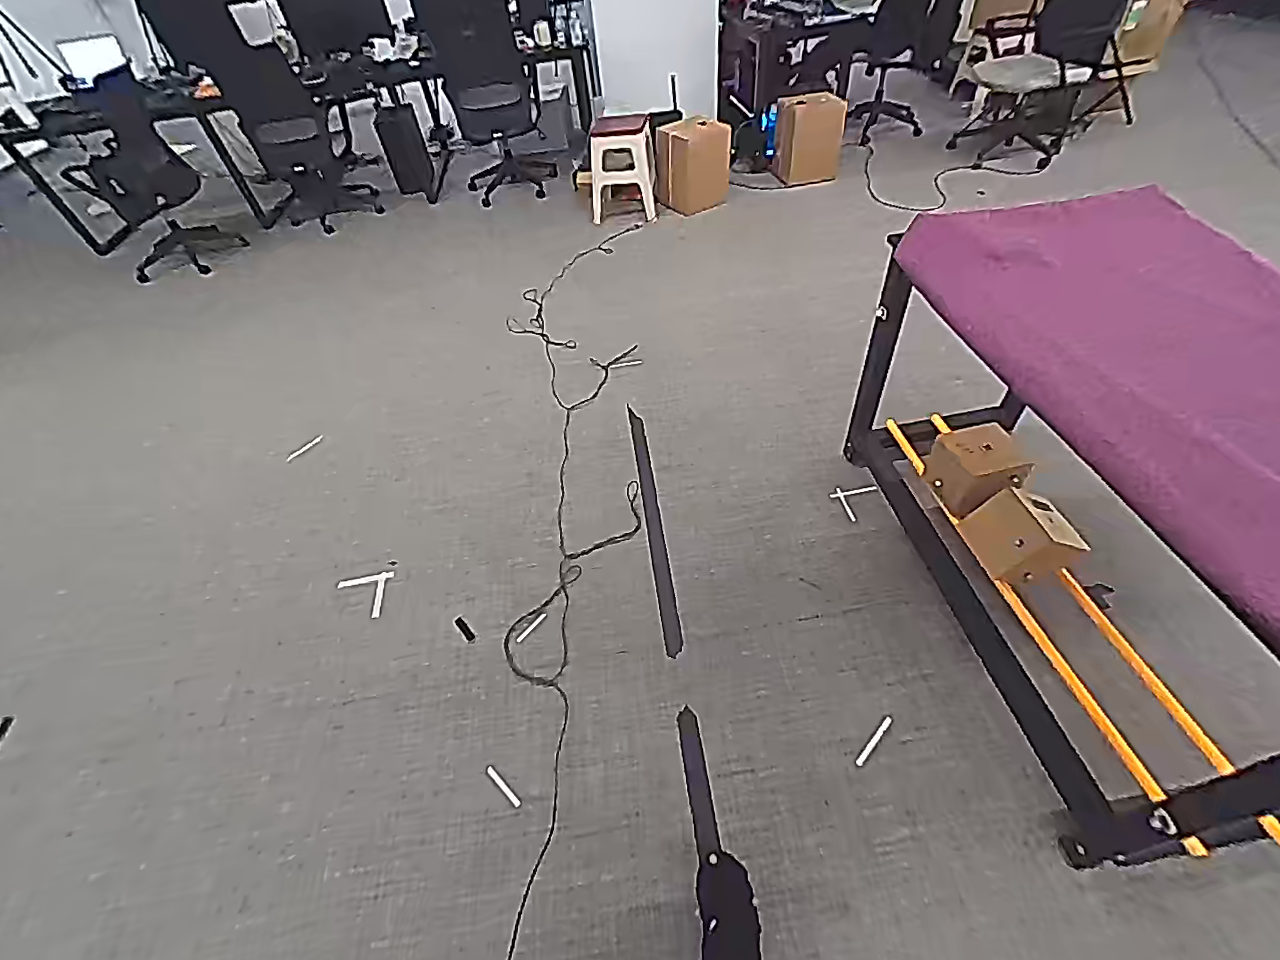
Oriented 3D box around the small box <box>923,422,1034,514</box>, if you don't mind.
[{"bbox_3d":[0.919,-0.031,1.489,0.179,0.176,0.168,-13,47,-2],"label":"small box"}]
